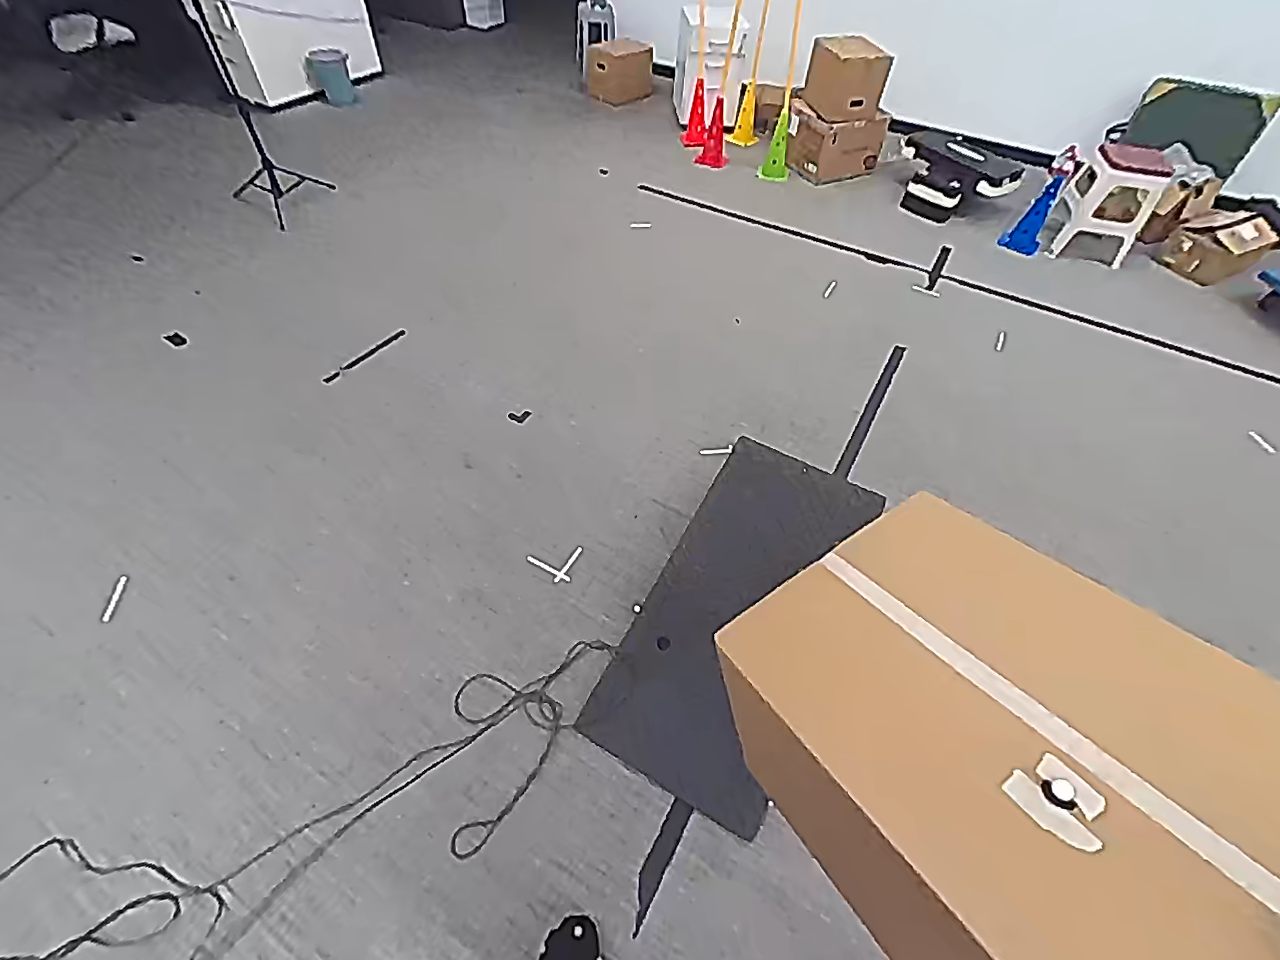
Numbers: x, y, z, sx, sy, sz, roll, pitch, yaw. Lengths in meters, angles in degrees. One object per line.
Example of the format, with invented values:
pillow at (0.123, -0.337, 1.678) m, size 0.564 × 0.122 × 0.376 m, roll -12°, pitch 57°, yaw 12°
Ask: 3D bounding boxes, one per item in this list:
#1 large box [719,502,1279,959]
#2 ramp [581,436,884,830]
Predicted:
large box at (0.337, 0.297, 0.557) m, size 0.320 × 0.320 × 0.408 m, roll -30°, pitch 41°, yaw -15°
ramp at (0.297, 0.337, 1.514) m, size 0.509 × 0.206 × 0.991 m, roll 24°, pitch 55°, yaw 14°
